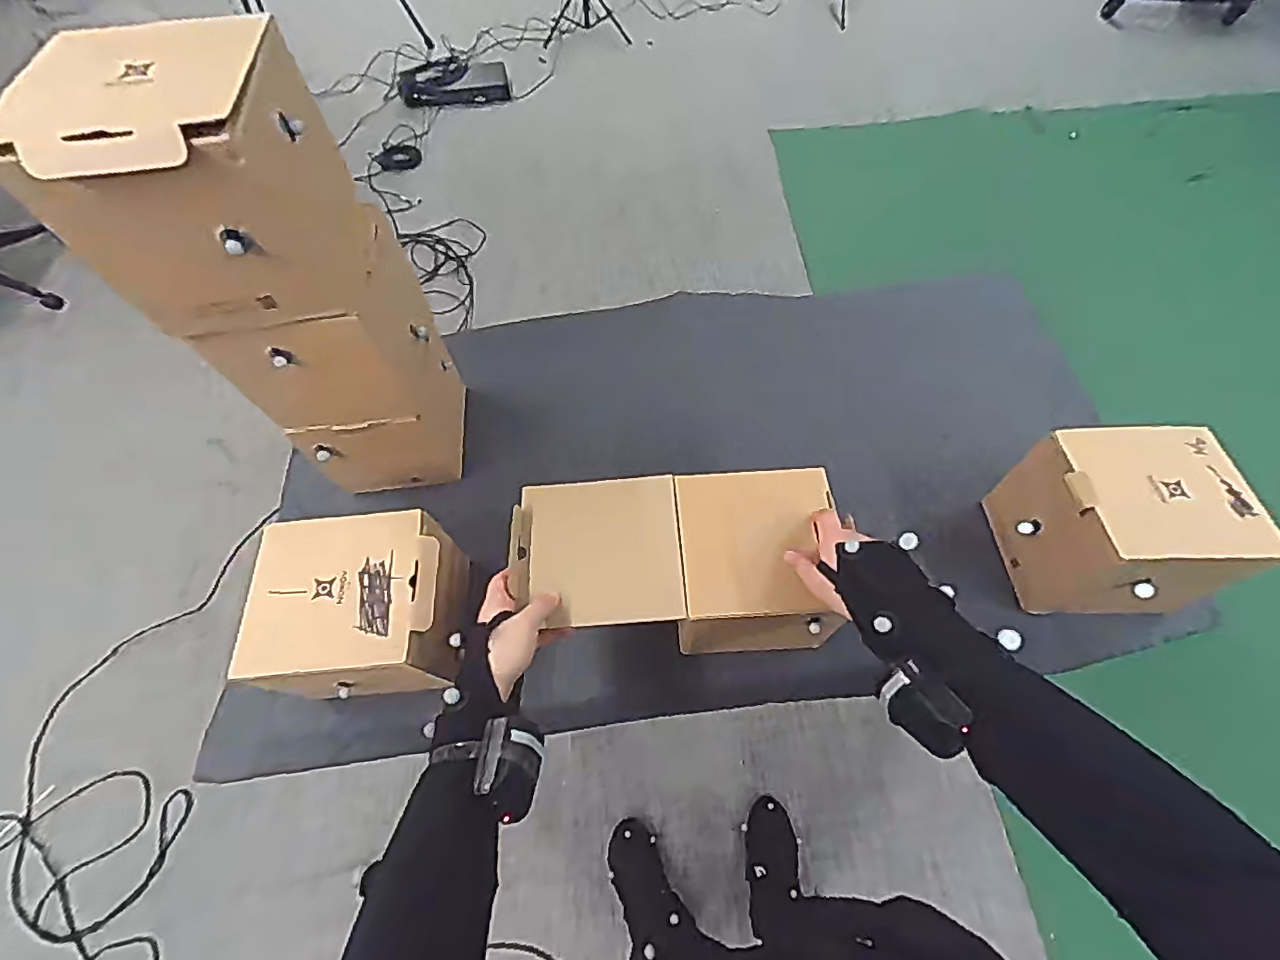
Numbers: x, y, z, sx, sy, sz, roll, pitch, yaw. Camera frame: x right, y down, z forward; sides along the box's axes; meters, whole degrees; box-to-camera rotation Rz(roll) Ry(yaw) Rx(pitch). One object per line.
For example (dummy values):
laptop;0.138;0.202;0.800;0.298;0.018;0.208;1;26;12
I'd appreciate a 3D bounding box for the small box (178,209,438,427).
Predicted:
small box;-0.352;-0.173;0.613;0.179;0.176;0.168;-6;63;-1

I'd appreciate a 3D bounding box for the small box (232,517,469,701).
small box;-0.309;0.155;0.625;0.179;0.176;0.168;-5;62;0

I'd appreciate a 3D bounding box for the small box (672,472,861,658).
small box;0.130;0.107;0.637;0.179;0.176;0.168;-4;60;0

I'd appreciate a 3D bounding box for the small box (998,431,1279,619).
small box;0.562;0.059;0.638;0.179;0.176;0.168;-1;58;3

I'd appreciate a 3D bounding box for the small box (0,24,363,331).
small box;-0.364;-0.248;0.469;0.168;0.176;0.179;-9;61;-4
